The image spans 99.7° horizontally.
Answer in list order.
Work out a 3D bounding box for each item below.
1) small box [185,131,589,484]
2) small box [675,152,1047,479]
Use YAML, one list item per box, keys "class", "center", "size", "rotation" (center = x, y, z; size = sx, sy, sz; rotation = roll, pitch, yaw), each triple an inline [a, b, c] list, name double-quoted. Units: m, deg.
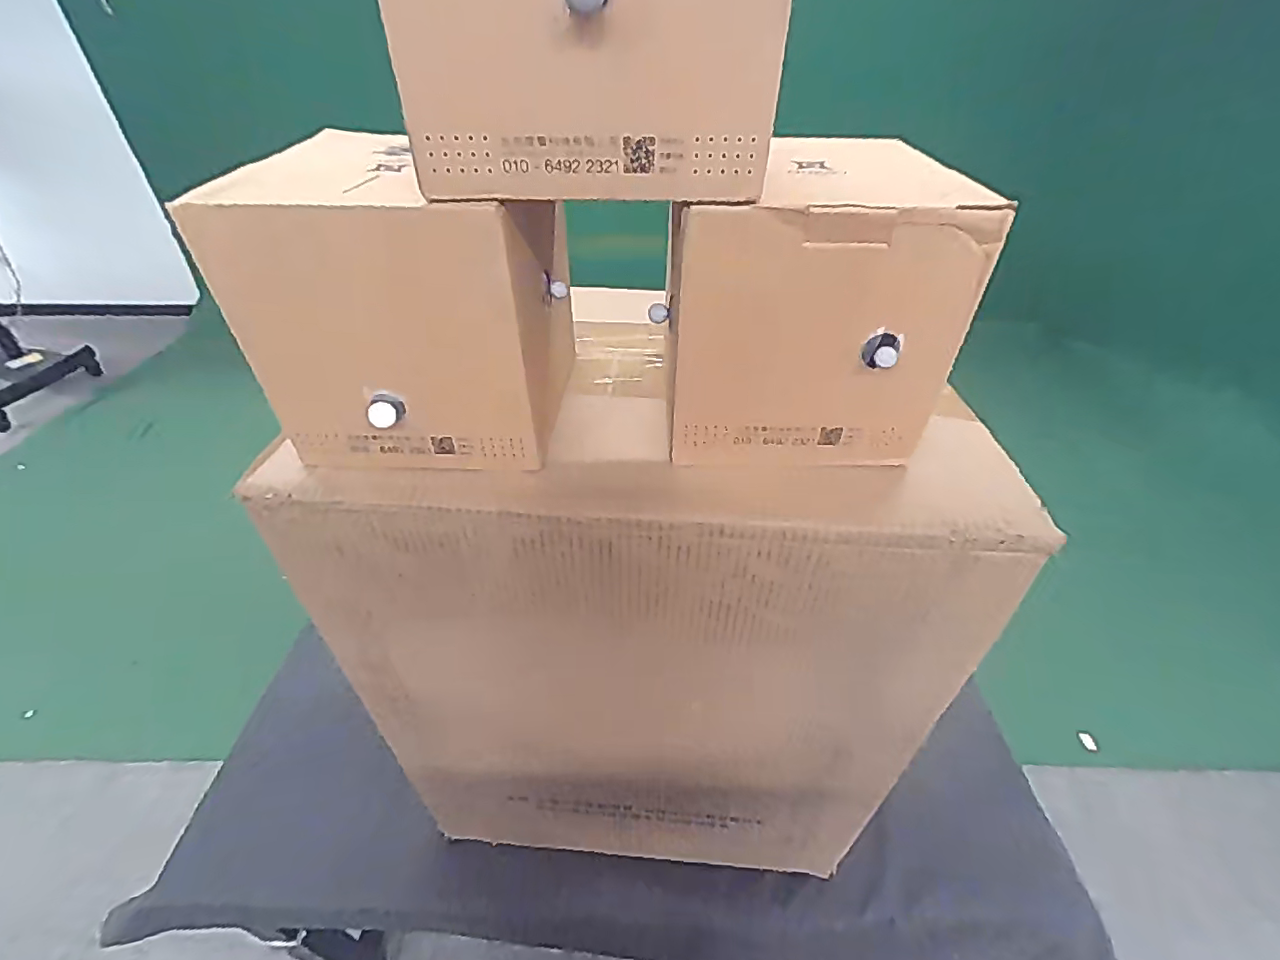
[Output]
- class: "small box"
  center: [-0.129, -0.120, 0.365]
  size: [0.168, 0.176, 0.179]
  rotation: [3, 42, 4]
- class: "small box"
  center: [0.116, -0.115, 0.376]
  size: [0.168, 0.176, 0.179]
  rotation: [2, 41, -3]
